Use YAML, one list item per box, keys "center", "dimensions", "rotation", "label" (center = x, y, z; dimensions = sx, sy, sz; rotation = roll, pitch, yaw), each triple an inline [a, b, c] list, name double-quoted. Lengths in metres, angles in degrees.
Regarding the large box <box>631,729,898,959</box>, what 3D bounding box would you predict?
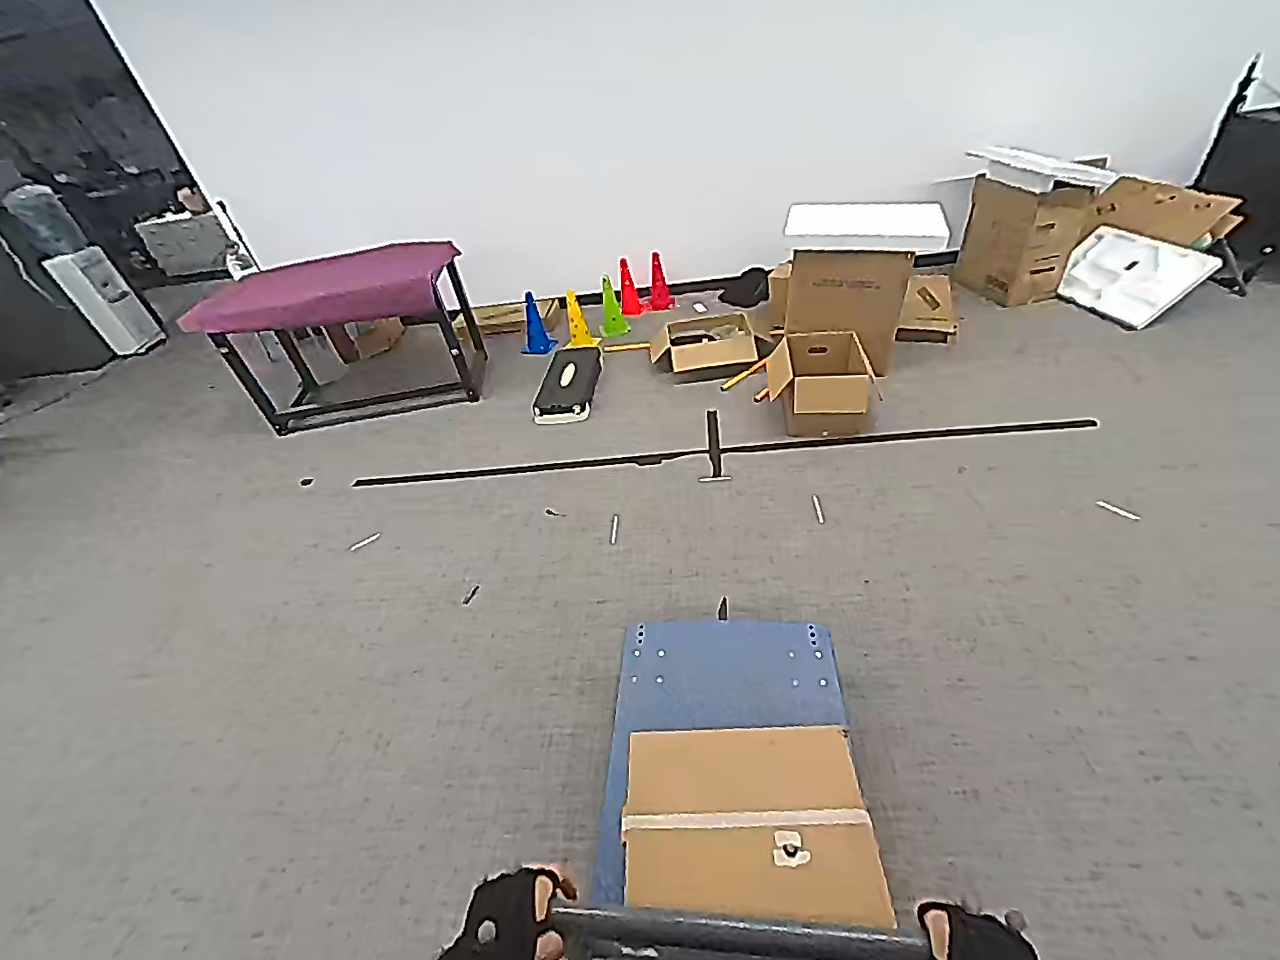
- center: [0.196, 0.697, 1.009]
  dimensions: [0.408, 0.320, 0.320]
  rotation: [-4, 40, 4]
  label: "large box"
